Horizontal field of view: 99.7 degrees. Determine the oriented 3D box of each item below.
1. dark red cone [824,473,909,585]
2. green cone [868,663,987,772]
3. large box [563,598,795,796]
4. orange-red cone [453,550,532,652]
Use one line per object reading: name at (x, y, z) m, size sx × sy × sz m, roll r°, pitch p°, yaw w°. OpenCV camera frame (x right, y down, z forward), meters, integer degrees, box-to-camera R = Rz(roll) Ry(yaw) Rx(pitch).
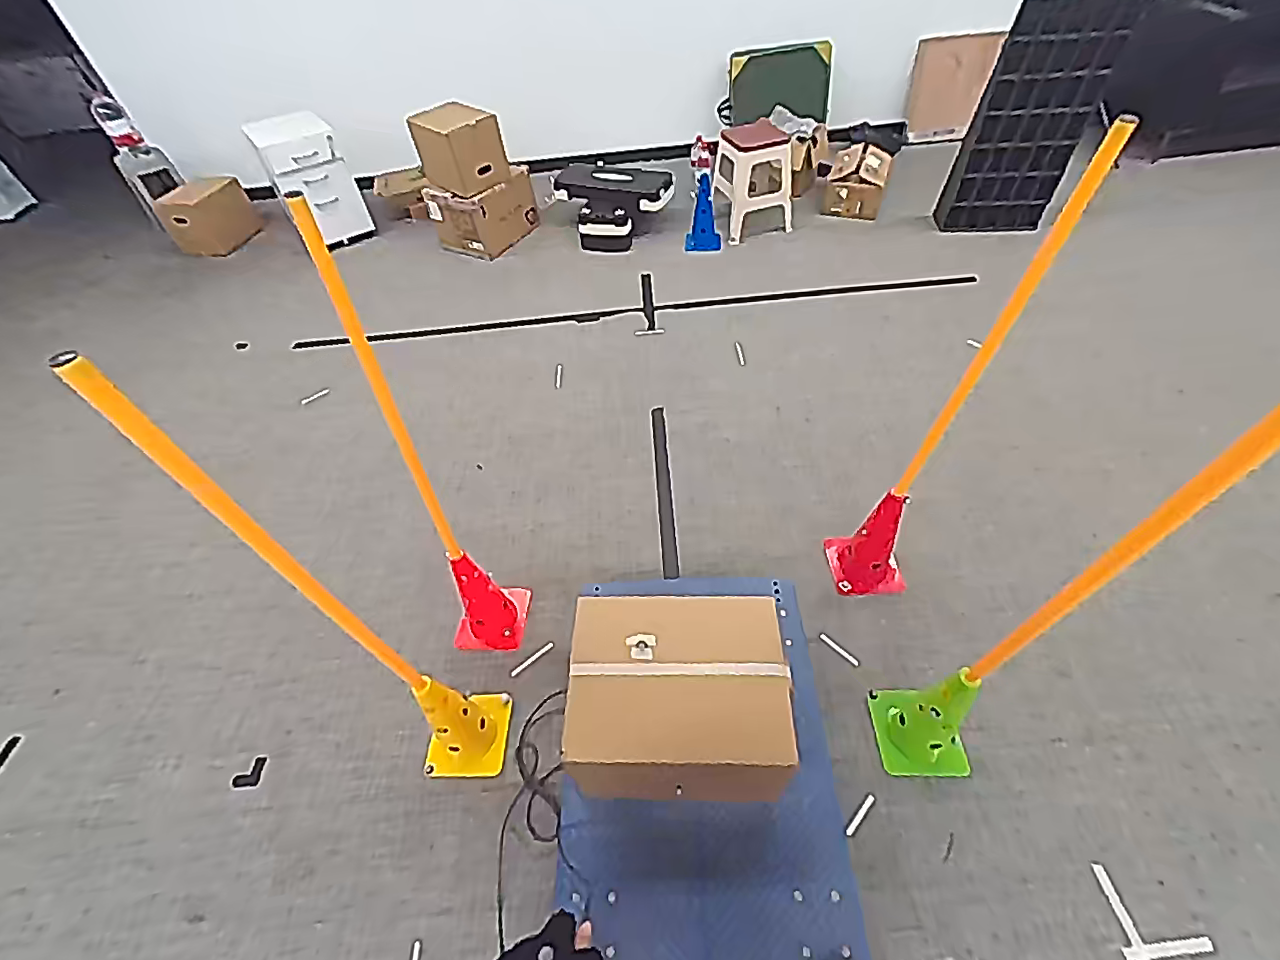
dark red cone at (0.672, 0.125, 1.518) m, size 0.201 × 0.394 × 0.202 m, roll -4°, pitch 50°, yaw 0°
green cone at (0.678, 0.505, 1.215) m, size 0.202 × 0.368 × 0.200 m, roll -2°, pitch 49°, yaw 3°
large box at (0.080, 0.460, 1.126) m, size 0.408 × 0.320 × 0.320 m, roll -2°, pitch 49°, yaw 5°
orange-red cone at (-0.447, 0.307, 1.504) m, size 0.198 × 0.360 × 0.199 m, roll 1°, pitch 48°, yaw 6°
